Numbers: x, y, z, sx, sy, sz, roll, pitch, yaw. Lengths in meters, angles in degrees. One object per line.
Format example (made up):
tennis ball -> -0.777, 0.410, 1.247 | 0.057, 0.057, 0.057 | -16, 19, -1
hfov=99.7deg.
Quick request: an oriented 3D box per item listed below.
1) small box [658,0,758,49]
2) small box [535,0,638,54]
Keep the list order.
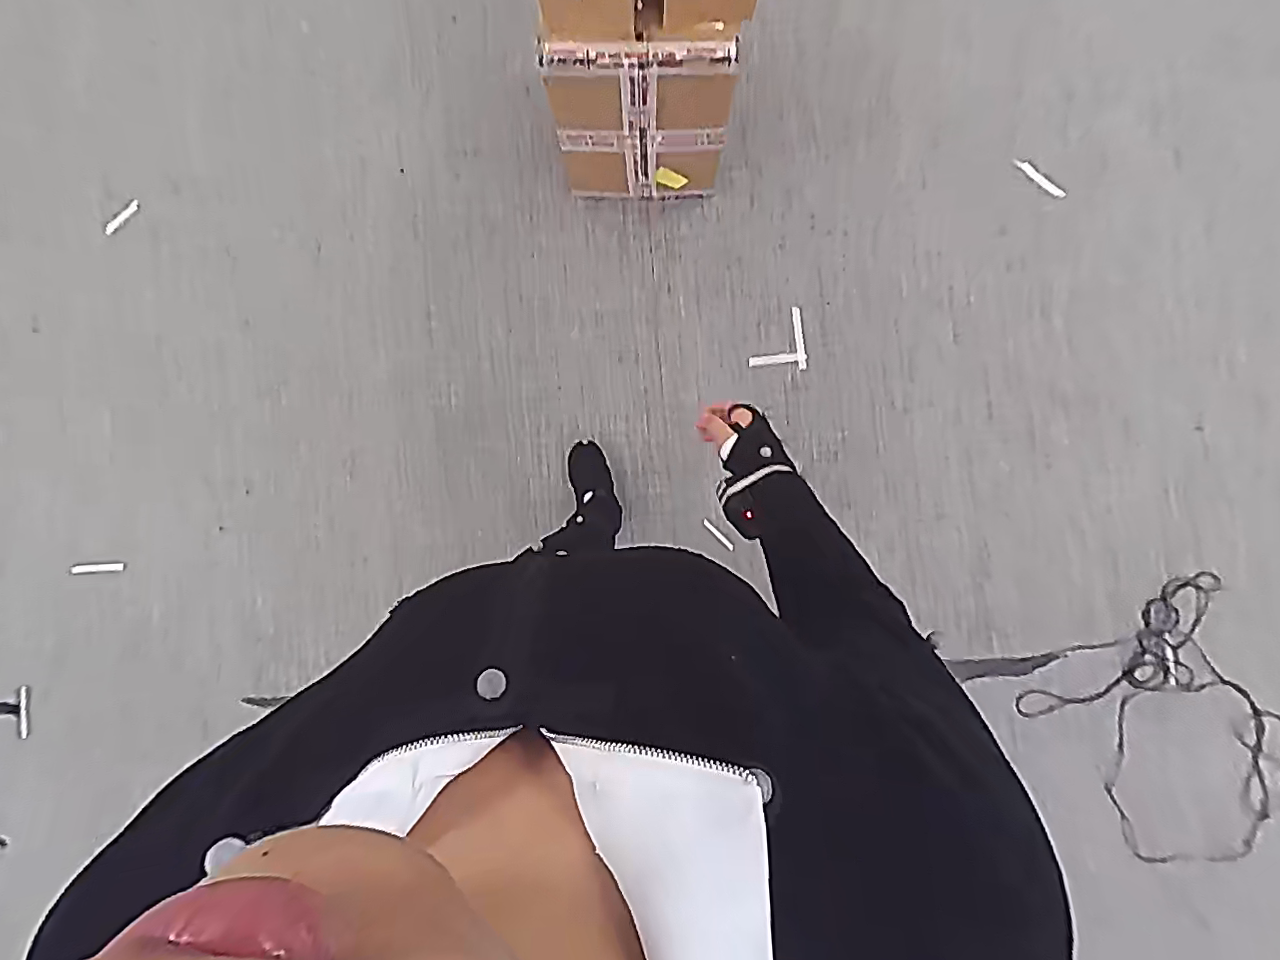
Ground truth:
small box -> 0.124, -0.930, 0.979 | 0.179, 0.176, 0.168 | -5, 89, 0
small box -> -0.093, -0.919, 0.983 | 0.179, 0.176, 0.168 | 4, 89, 3
